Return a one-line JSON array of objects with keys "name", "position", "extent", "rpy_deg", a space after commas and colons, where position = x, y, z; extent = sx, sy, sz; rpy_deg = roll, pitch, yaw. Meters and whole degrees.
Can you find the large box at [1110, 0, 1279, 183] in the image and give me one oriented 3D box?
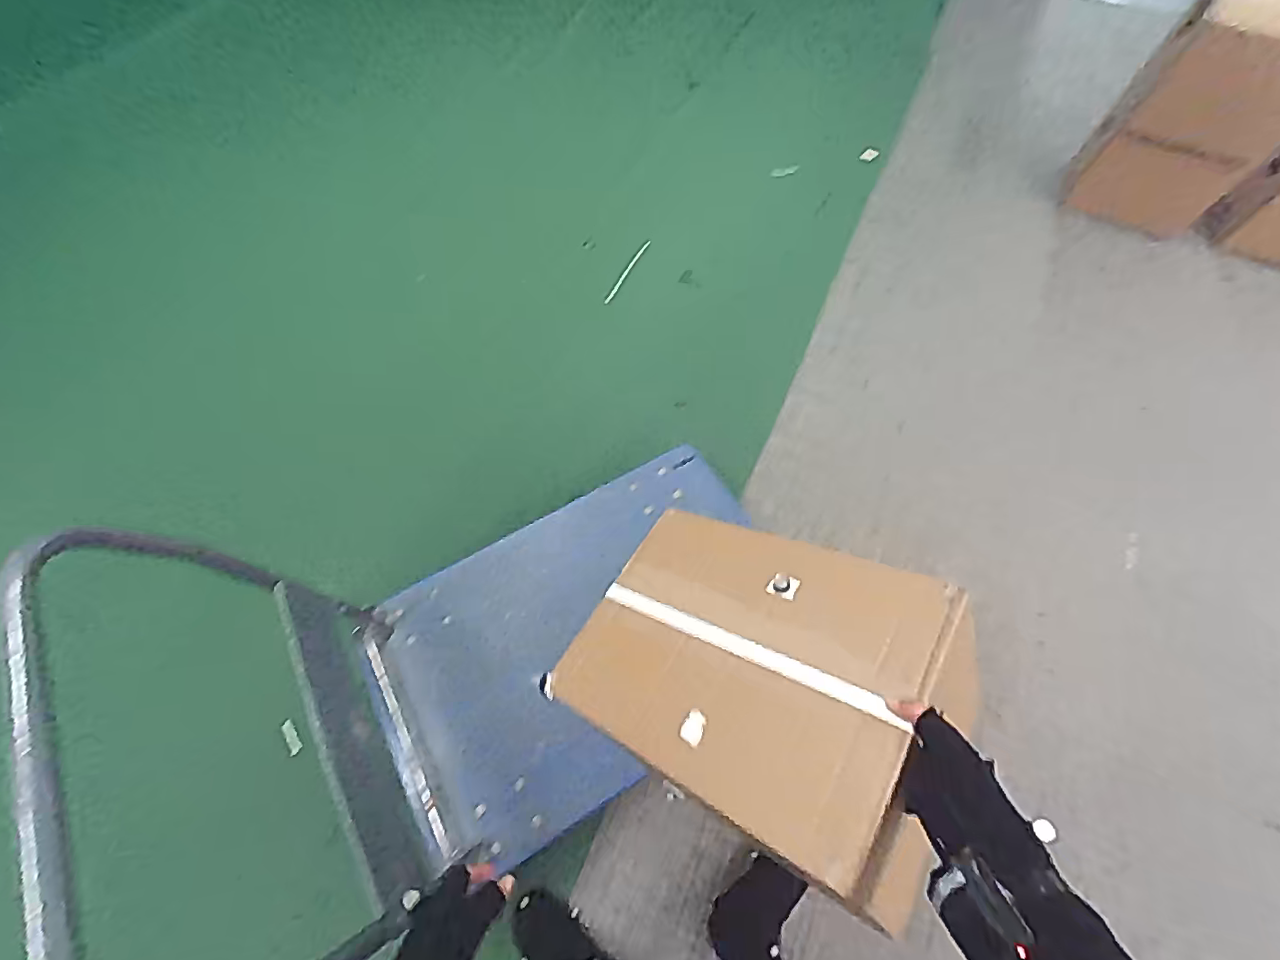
[{"name": "large box", "position": [1.814, -1.206, 1.690], "extent": [0.408, 0.320, 0.320], "rpy_deg": [25, 67, 12]}]
